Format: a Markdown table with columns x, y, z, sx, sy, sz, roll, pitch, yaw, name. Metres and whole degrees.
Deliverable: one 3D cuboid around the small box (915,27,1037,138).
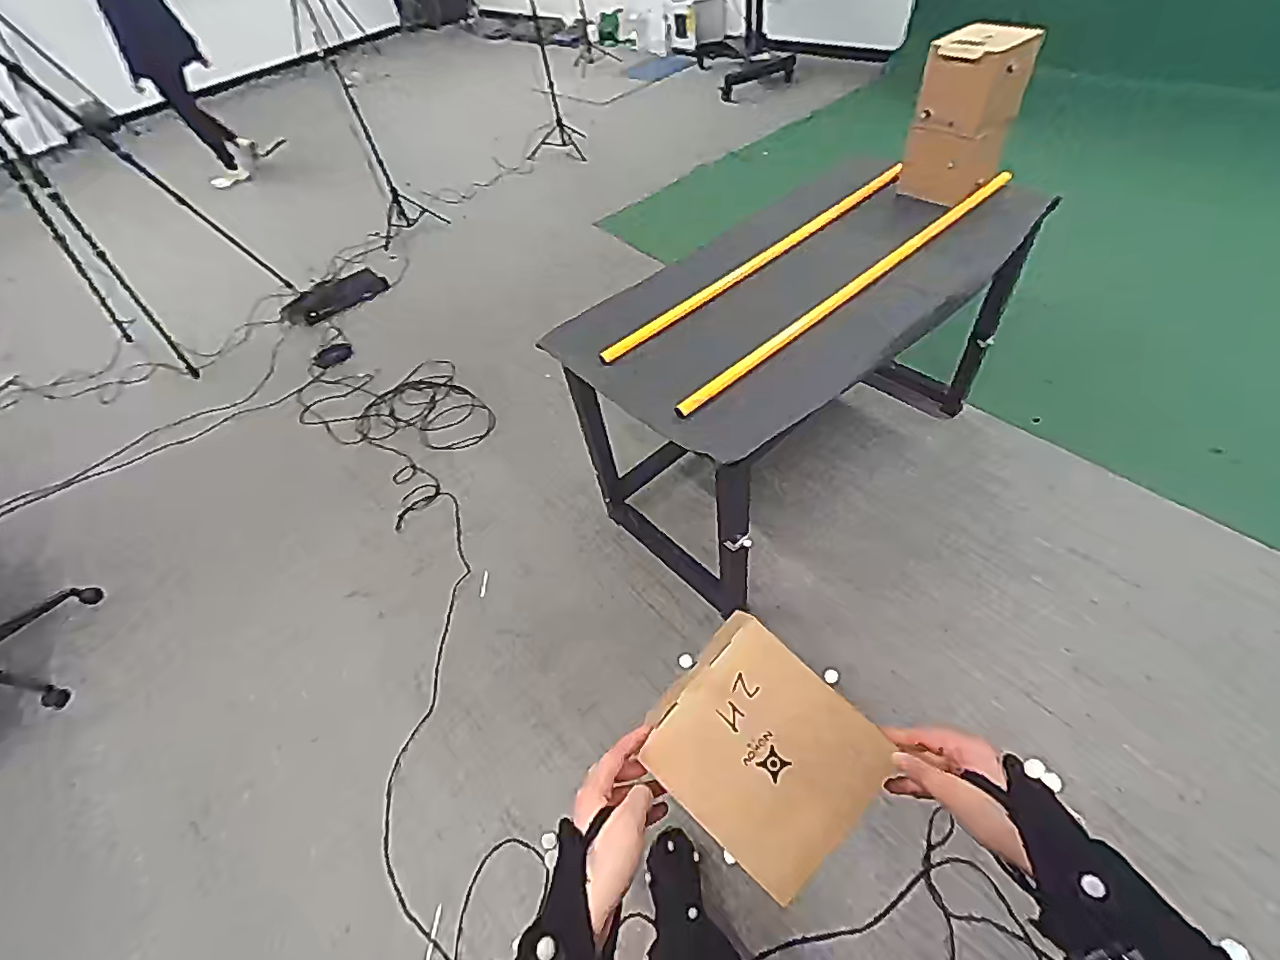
| x | y | z | sx | sy | sz | roll | pitch | yaw | name |
| --- | --- | --- | --- | --- | --- | --- | --- | --- | --- |
| 0.788 | -0.949 | 1.293 | 0.179 | 0.176 | 0.168 | -33 | 54 | -17 | small box |
